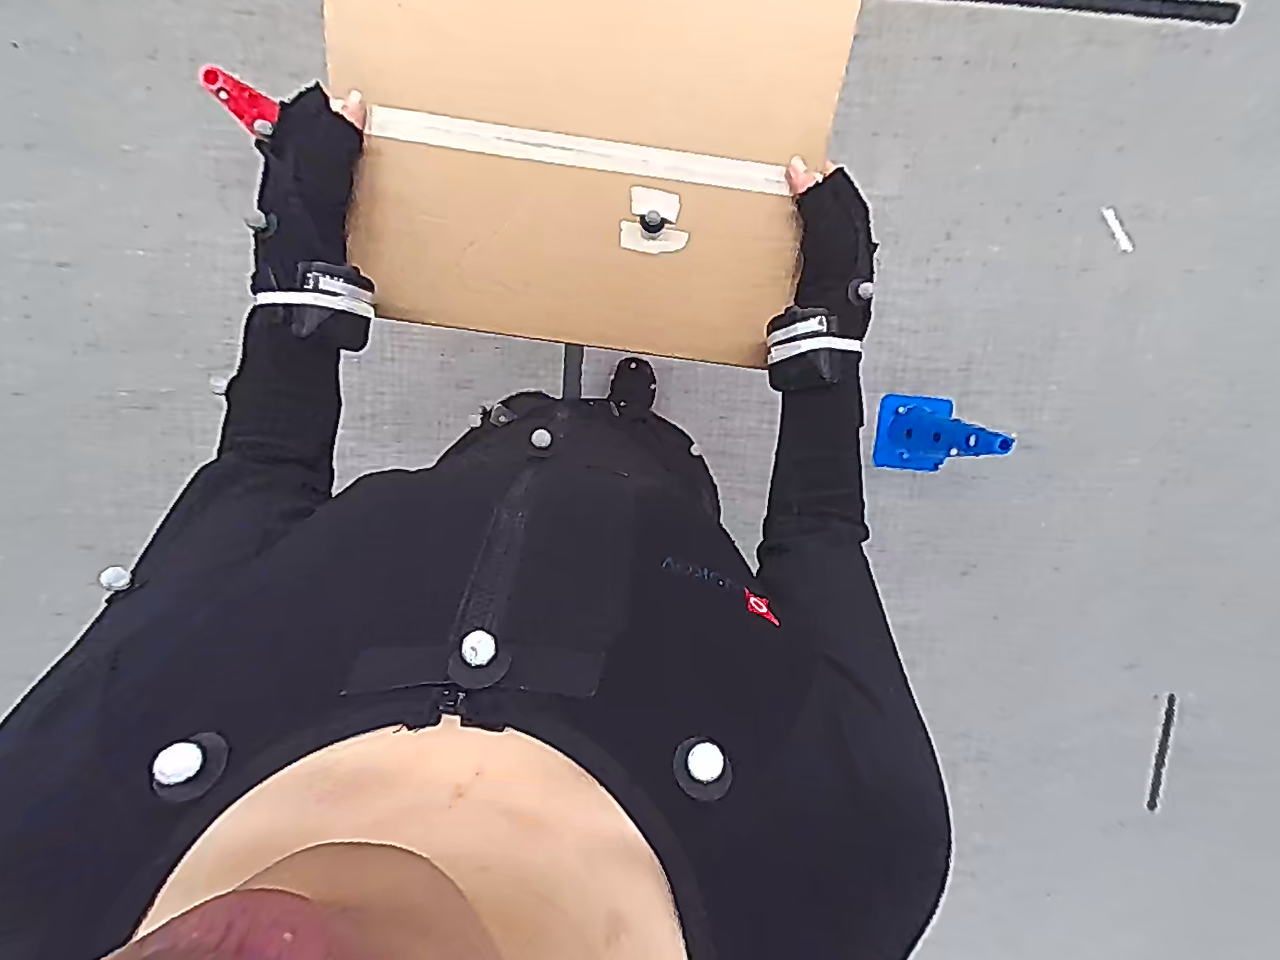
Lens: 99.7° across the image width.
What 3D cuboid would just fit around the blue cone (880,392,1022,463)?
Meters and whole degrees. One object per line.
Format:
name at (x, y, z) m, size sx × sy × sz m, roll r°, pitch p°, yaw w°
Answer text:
blue cone at (0.762, -0.116, 1.310) m, size 0.192 × 0.380 × 0.193 m, roll 6°, pitch 99°, yaw -4°

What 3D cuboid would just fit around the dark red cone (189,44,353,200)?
dark red cone at (-0.770, -0.756, 1.121) m, size 0.201 × 0.394 × 0.202 m, roll 8°, pitch 99°, yaw -4°

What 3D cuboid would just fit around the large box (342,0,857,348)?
large box at (-0.046, -0.339, 0.591) m, size 0.408 × 0.320 × 0.320 m, roll 6°, pitch 112°, yaw -4°
